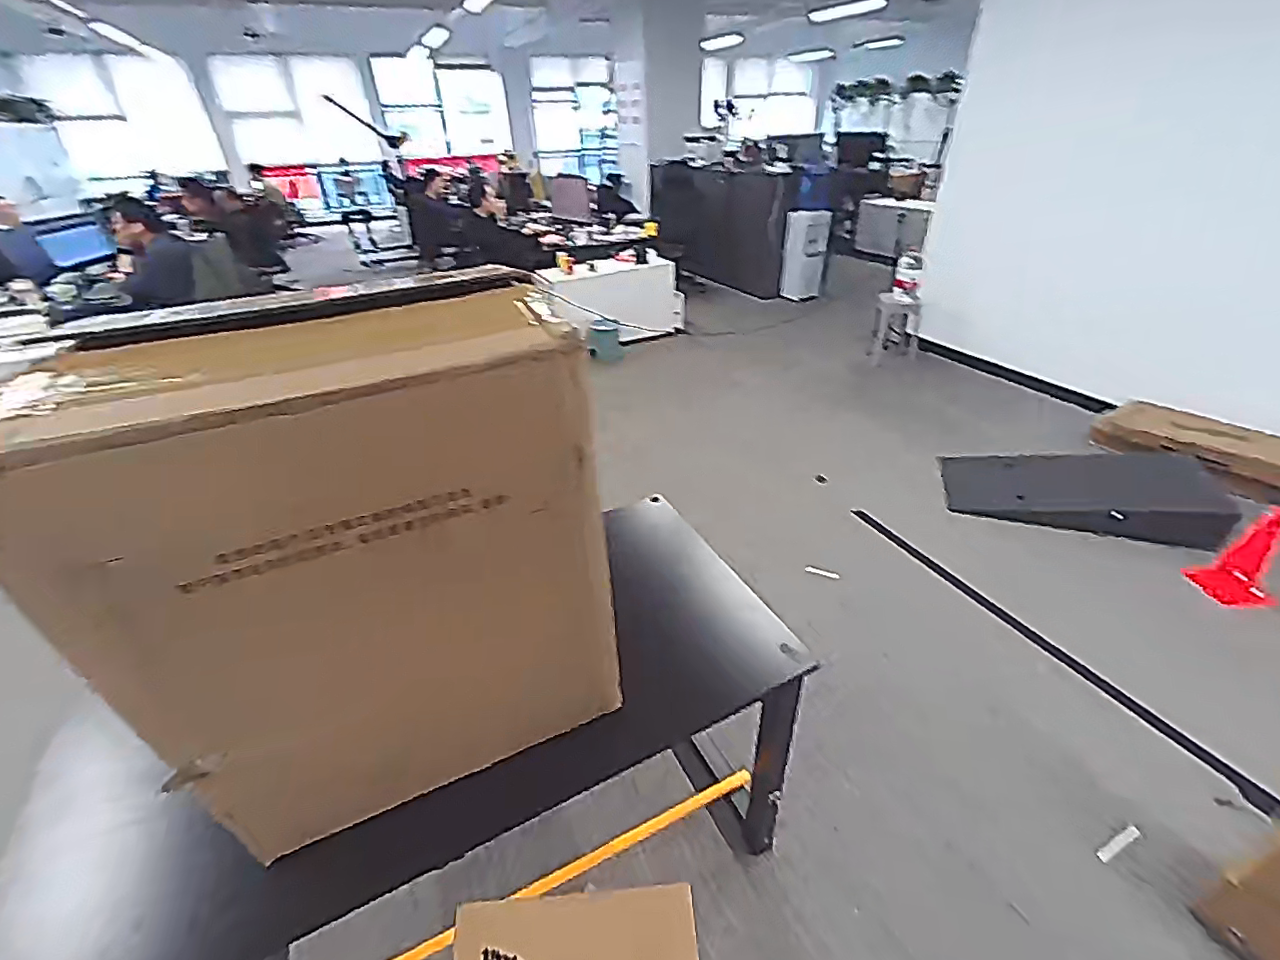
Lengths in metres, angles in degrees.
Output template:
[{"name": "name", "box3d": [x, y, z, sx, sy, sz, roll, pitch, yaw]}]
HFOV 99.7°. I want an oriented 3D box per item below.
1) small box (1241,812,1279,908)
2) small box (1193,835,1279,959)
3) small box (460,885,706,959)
[{"name": "small box", "box3d": [1.356, 0.767, 1.066, 0.179, 0.176, 0.168, -22, 36, -27]}, {"name": "small box", "box3d": [1.350, 0.907, 1.153, 0.179, 0.176, 0.168, -20, 36, -22]}, {"name": "small box", "box3d": [-0.039, 0.423, 0.405, 0.179, 0.176, 0.168, -1, 46, -4]}]
